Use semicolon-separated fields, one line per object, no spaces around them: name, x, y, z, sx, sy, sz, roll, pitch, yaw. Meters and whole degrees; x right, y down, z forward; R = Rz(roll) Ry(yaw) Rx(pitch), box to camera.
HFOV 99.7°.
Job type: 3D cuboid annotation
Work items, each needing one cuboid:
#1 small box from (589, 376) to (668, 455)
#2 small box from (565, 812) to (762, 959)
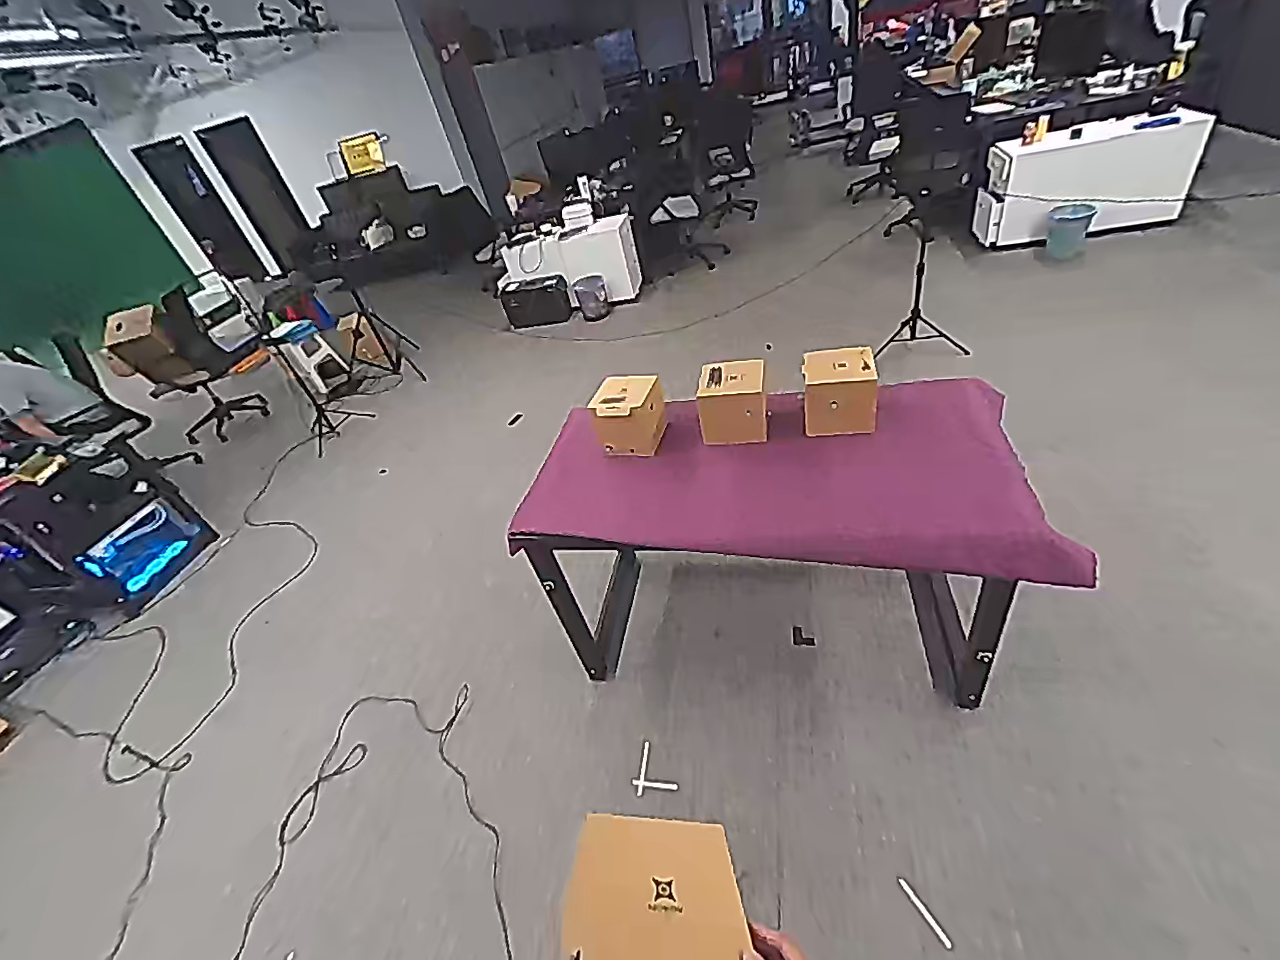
small box;-0.025;-0.187;1.584;0.168;0.176;0.179;2;42;21
small box;0.013;0.492;0.564;0.168;0.176;0.179;10;15;-8
